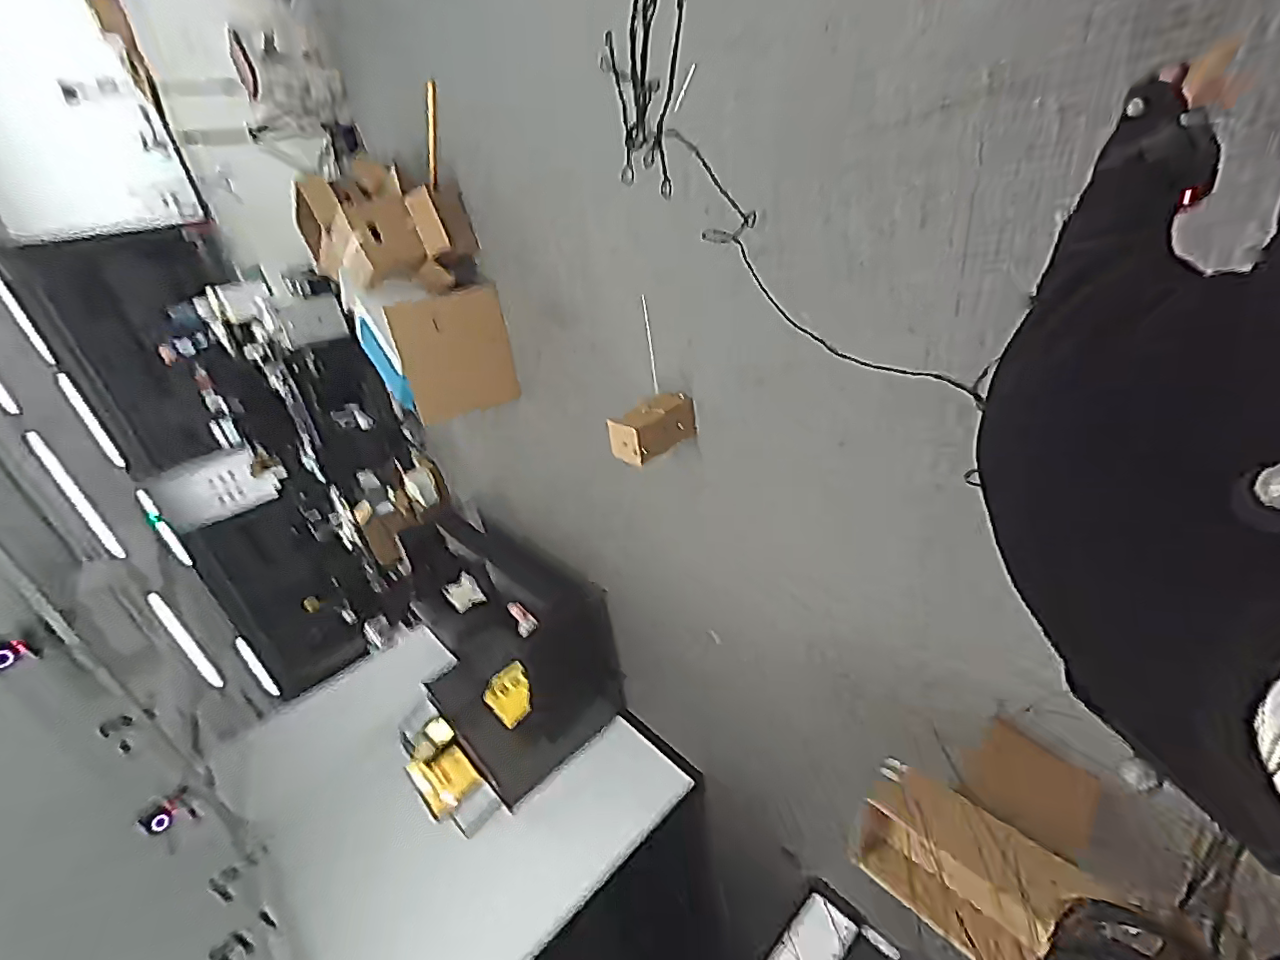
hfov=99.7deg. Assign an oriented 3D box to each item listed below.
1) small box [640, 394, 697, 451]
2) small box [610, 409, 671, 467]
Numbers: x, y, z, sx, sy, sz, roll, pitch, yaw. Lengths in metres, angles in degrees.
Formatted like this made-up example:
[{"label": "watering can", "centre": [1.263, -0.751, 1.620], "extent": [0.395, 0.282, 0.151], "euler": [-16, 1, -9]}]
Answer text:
[{"label": "small box", "centre": [0.122, -0.249, 2.286], "extent": [0.168, 0.176, 0.179], "euler": [23, 132, 44]}, {"label": "small box", "centre": [0.003, -0.176, 2.200], "extent": [0.179, 0.176, 0.168], "euler": [25, 133, 44]}]
